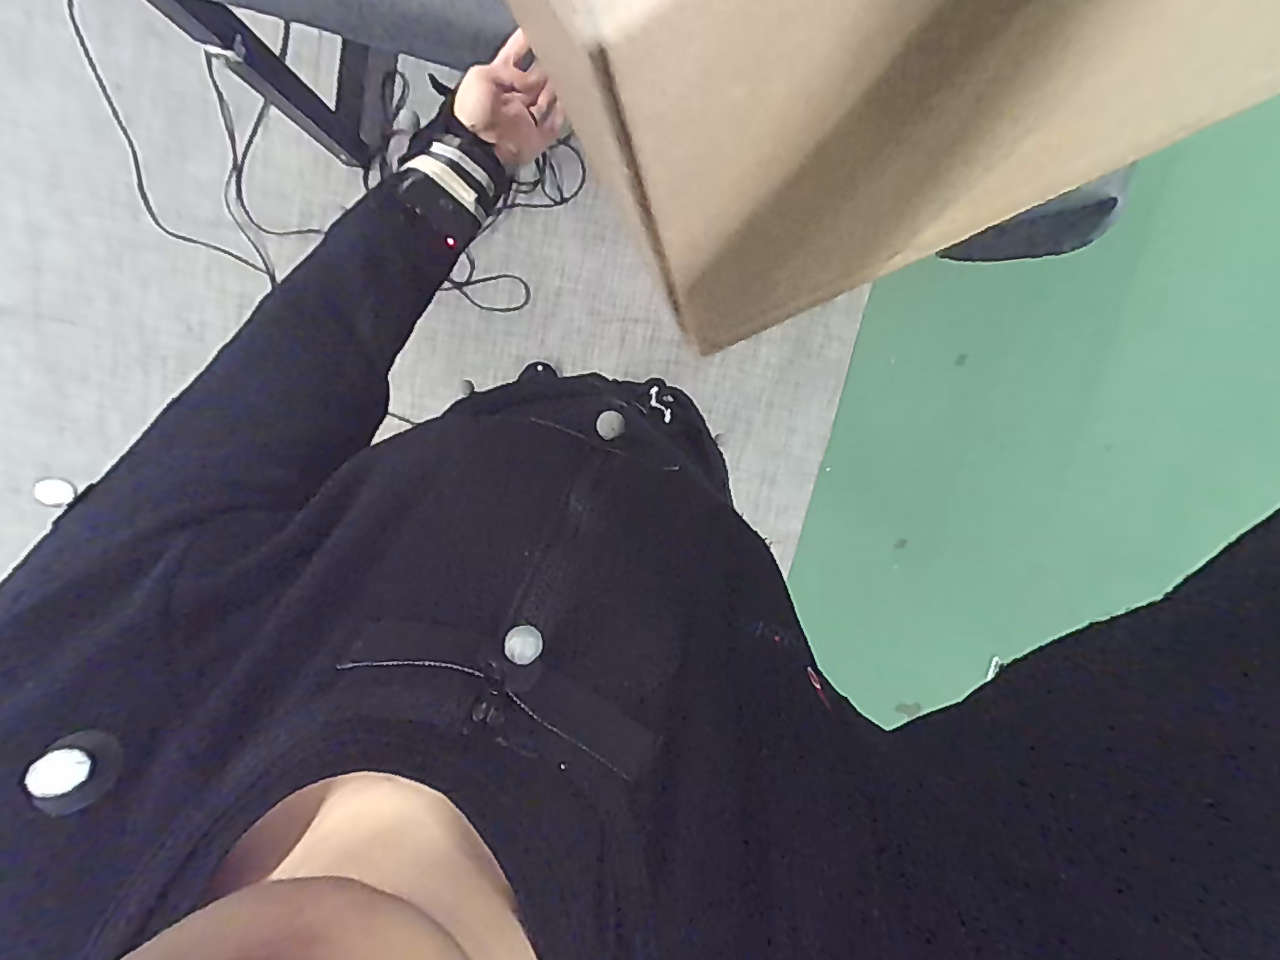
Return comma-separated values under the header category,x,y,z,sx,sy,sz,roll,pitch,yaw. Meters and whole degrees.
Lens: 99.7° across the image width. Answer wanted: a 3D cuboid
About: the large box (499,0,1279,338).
category,x,y,z,sx,sy,sz,roll,pitch,yaw
large box,0.061,-0.349,0.226,0.320,0.320,0.408,-26,62,4
